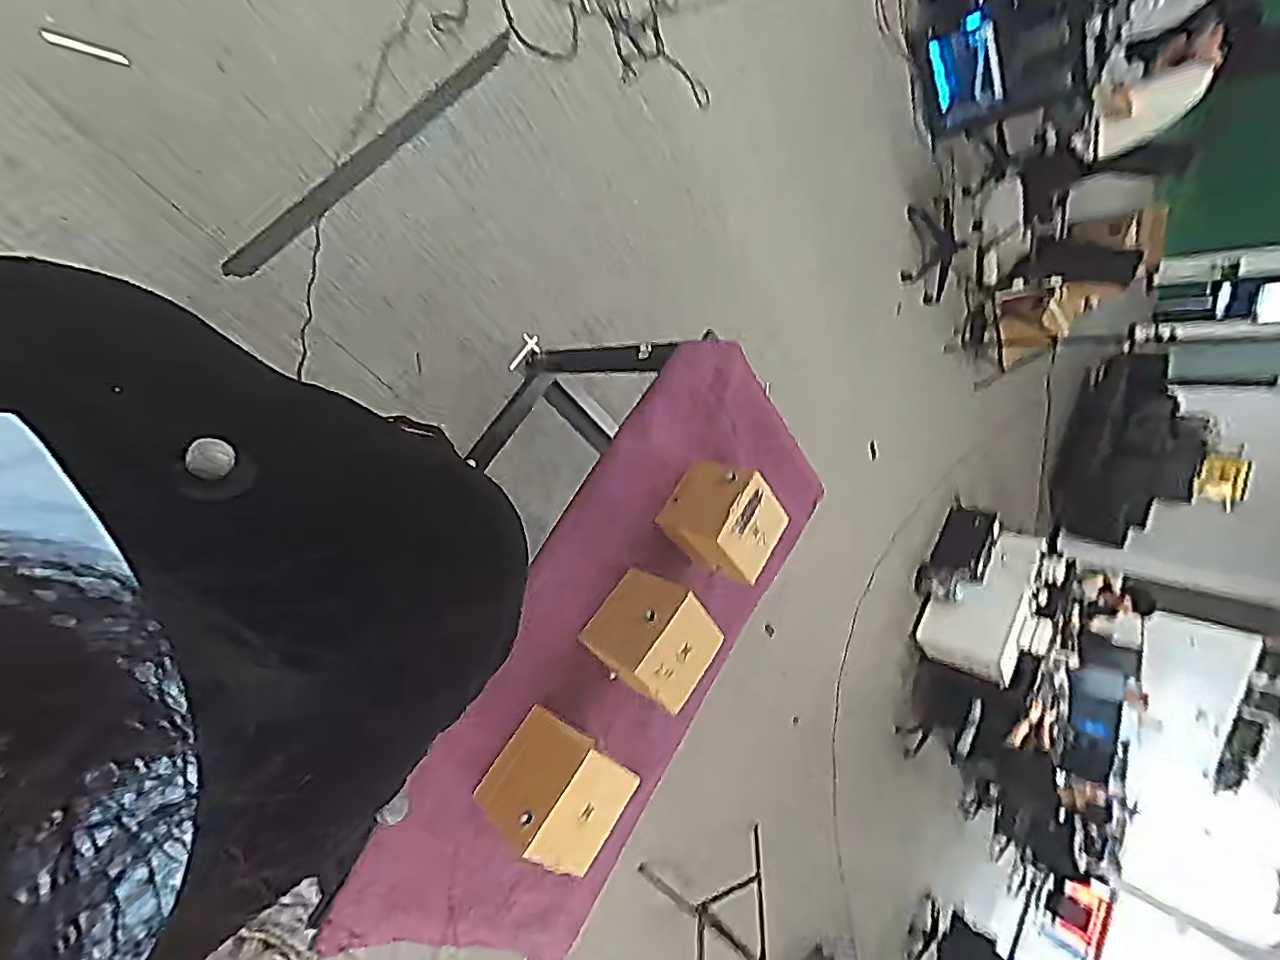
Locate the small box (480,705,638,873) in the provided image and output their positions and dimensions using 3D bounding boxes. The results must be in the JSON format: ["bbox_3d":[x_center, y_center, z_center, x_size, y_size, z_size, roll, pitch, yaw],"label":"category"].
[{"bbox_3d":[-0.143,0.527,0.940,0.179,0.176,0.168,-54,130,-20],"label":"small box"}]

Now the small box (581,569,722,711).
[{"bbox_3d":[0.021,0.297,1.039,0.179,0.176,0.168,-50,127,-22],"label":"small box"}]
